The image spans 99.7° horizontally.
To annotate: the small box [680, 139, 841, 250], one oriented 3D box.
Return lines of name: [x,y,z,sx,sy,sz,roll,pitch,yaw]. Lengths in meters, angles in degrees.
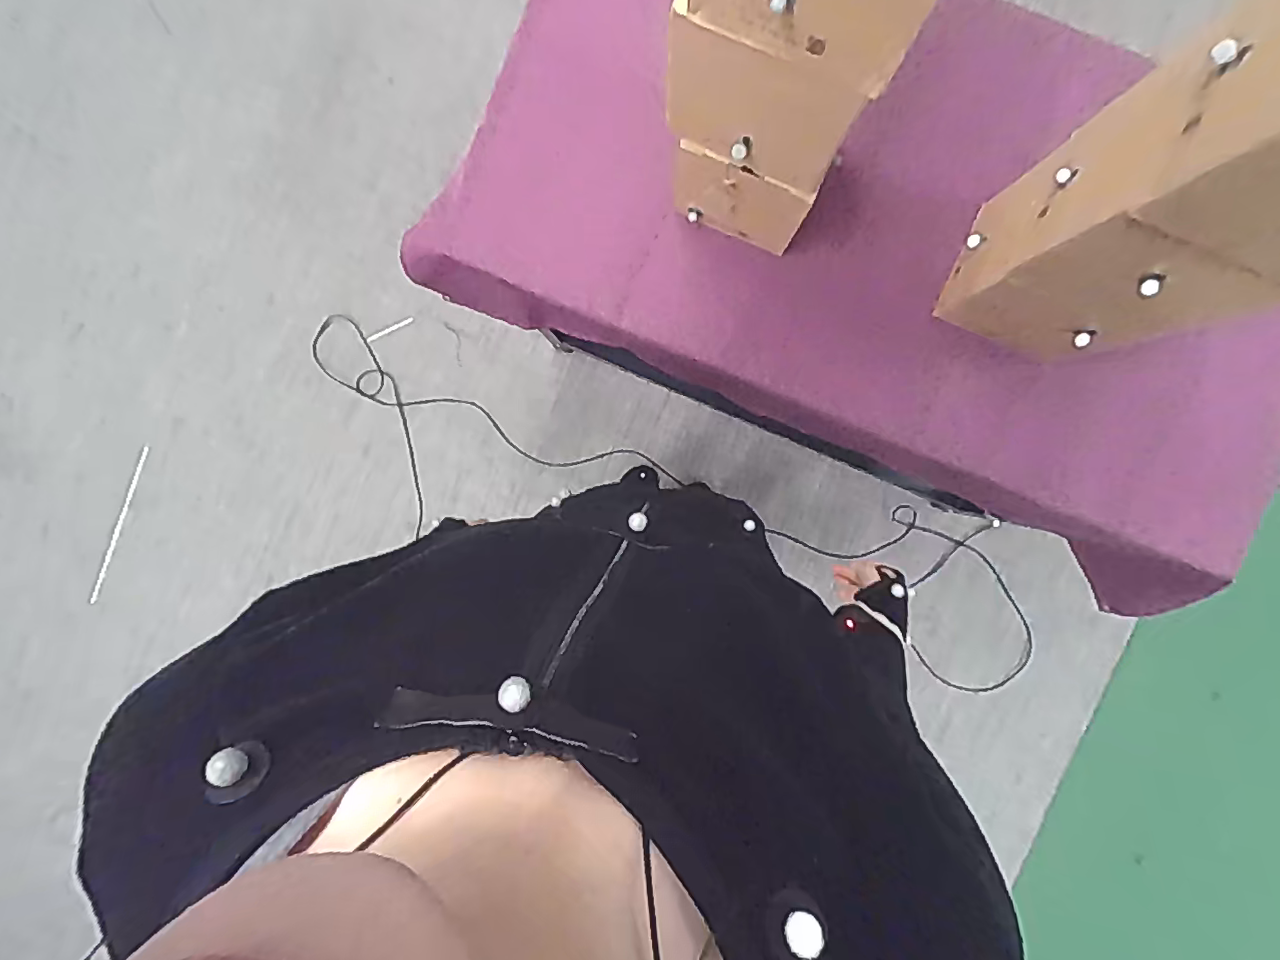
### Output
small box: [0.156,-0.418,0.671,0.168,0.176,0.179,23,92,0]

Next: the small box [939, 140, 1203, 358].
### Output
small box: [0.517,-0.263,0.664,0.179,0.176,0.168,24,93,1]

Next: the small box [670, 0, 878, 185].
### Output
small box: [0.140,-0.414,0.507,0.179,0.176,0.168,24,93,0]

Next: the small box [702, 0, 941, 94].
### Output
small box: [0.146,-0.407,0.344,0.168,0.176,0.179,23,94,1]

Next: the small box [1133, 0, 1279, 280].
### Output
small box: [0.489,-0.242,0.338,0.179,0.176,0.168,24,92,1]
